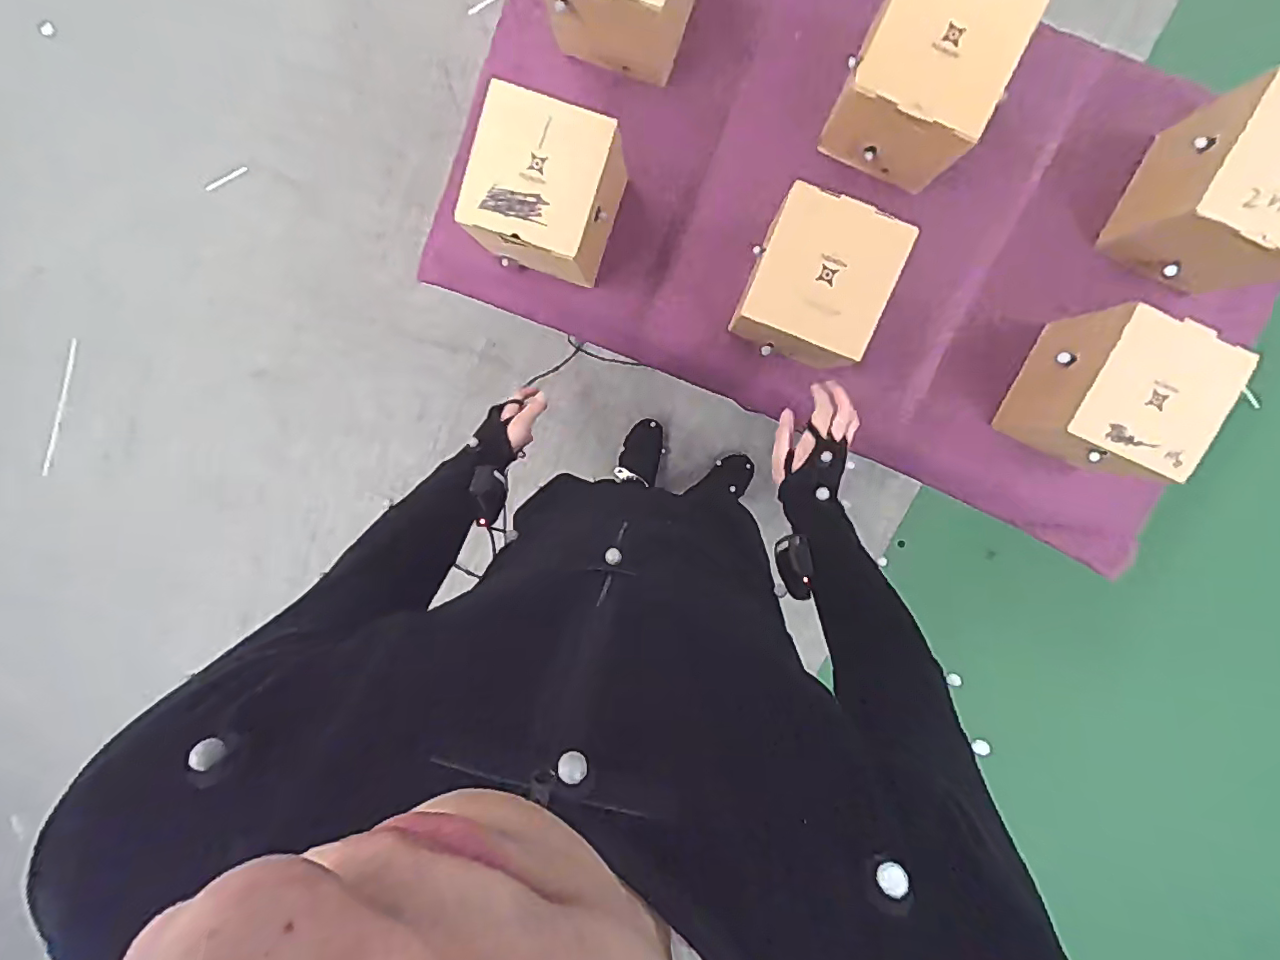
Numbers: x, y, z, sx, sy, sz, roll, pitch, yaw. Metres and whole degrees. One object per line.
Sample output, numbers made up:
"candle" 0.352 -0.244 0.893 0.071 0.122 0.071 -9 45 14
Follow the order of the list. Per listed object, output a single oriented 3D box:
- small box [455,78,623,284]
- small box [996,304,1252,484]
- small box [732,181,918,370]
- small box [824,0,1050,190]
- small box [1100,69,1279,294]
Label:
"small box" -0.127 -0.392 0.747 0.168 0.176 0.179 19 97 -1
"small box" 0.646 -0.115 0.750 0.168 0.176 0.179 25 97 0
"small box" 0.238 -0.267 0.751 0.168 0.176 0.179 23 99 0
"small box" 0.366 -0.521 0.706 0.168 0.176 0.179 24 100 -1
"small box" 0.767 -0.369 0.704 0.168 0.176 0.179 25 100 1
